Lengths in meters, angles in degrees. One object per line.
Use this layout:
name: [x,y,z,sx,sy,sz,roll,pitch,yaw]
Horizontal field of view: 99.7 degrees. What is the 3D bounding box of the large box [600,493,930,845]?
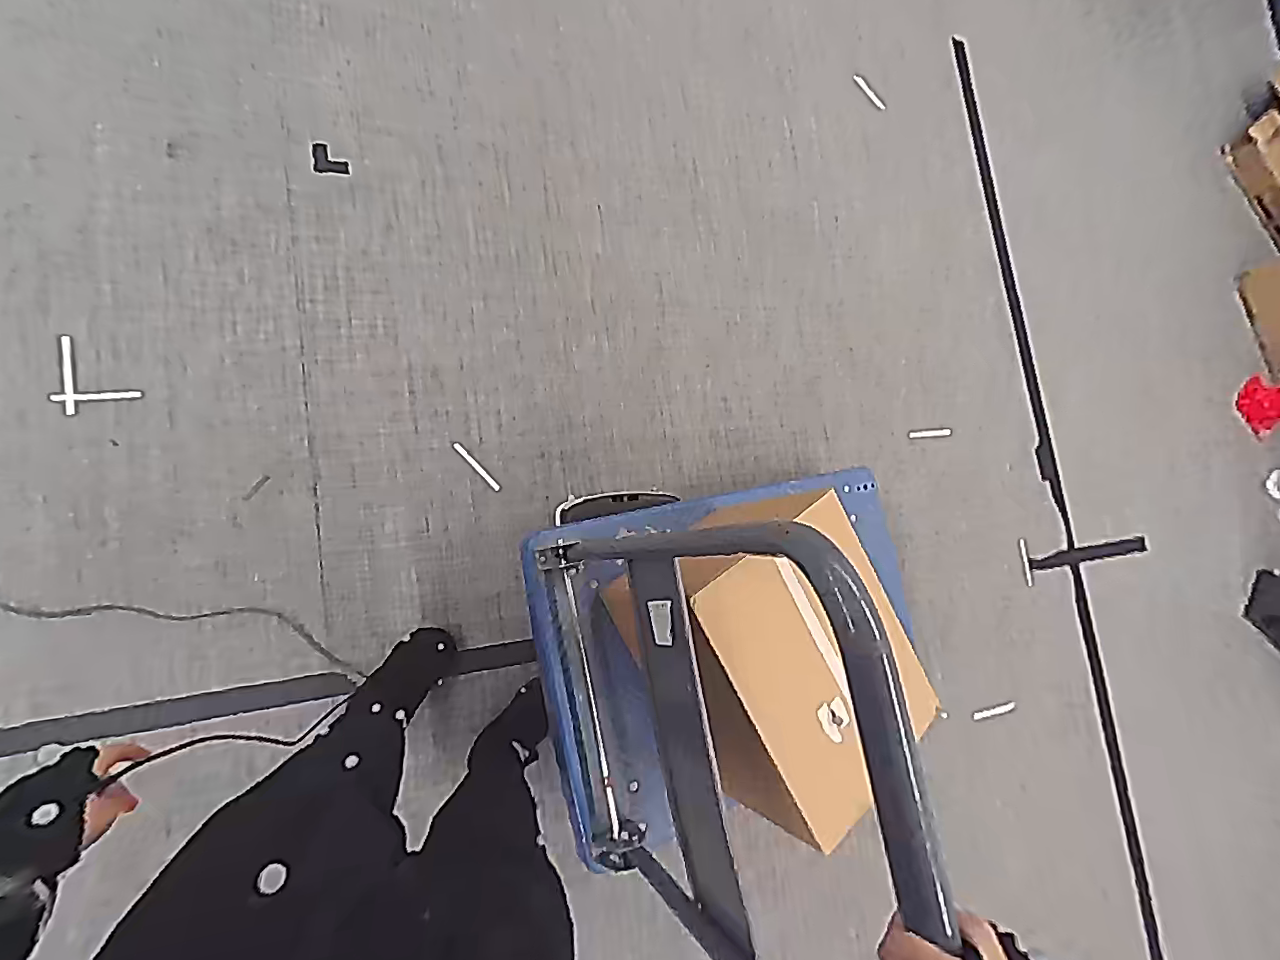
large box: [0.197,0.279,0.915,0.320,0.320,0.408,-30,96,-27]
